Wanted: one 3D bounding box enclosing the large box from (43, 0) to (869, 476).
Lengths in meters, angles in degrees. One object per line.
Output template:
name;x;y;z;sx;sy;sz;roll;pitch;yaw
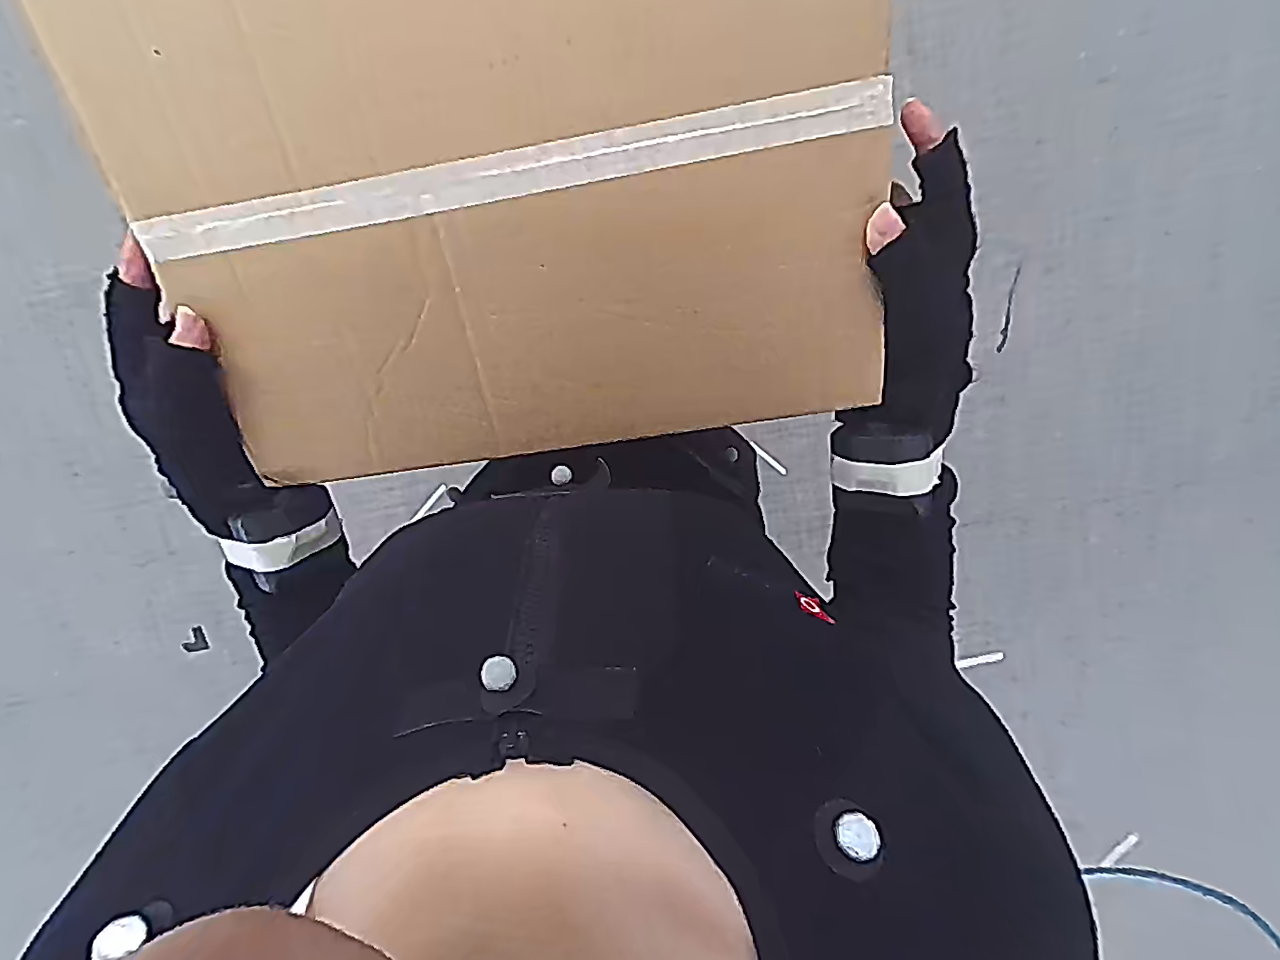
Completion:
large box;-0.074;-0.231;0.427;0.408;0.320;0.320;-8;115;5
